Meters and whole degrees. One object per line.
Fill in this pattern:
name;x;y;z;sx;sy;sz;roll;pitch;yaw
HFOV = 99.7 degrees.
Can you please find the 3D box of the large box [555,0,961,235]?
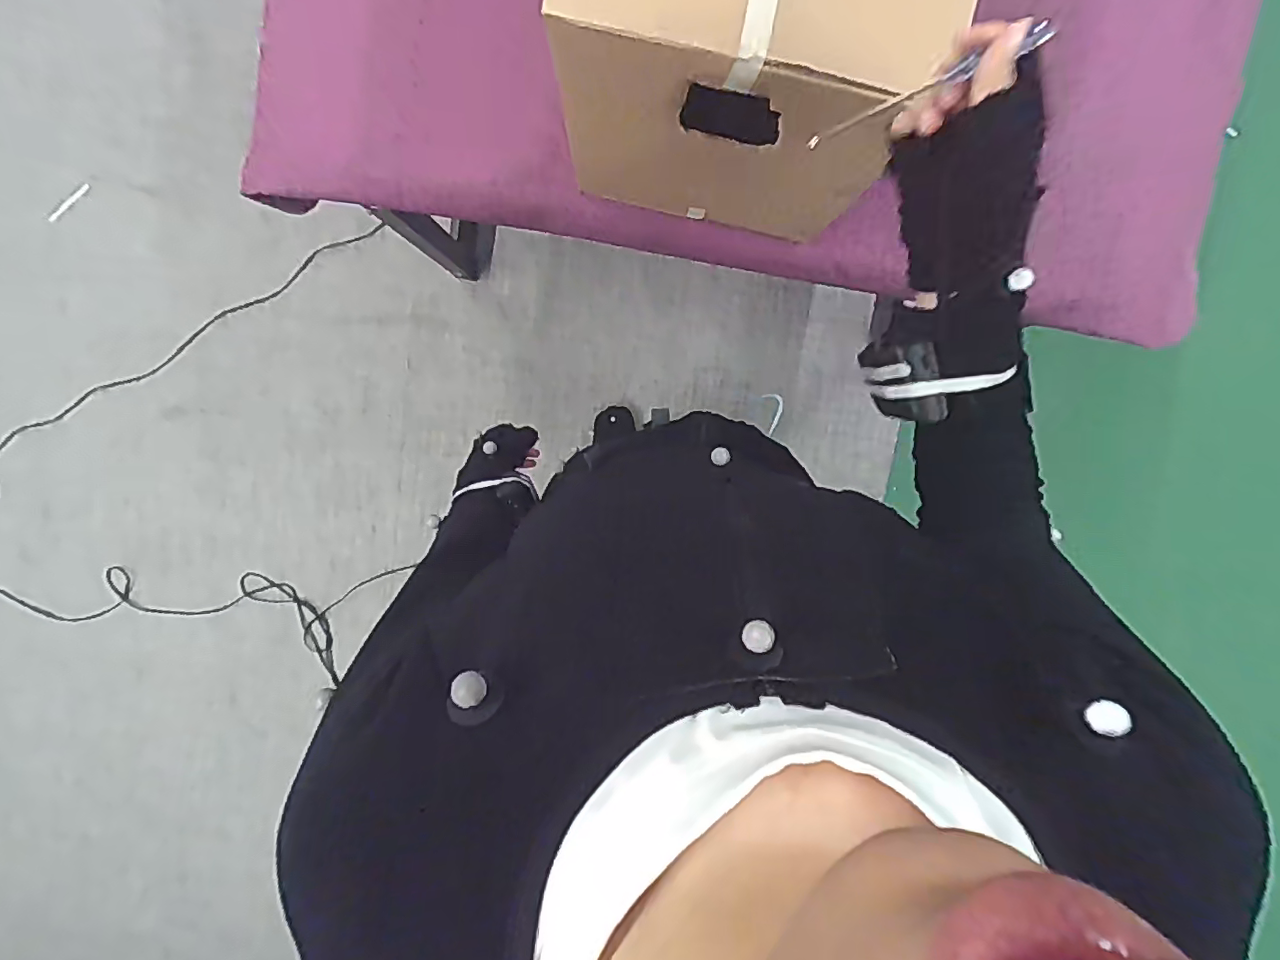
large box;0.114;-0.527;0.542;0.320;0.320;0.408;11;97;-3
